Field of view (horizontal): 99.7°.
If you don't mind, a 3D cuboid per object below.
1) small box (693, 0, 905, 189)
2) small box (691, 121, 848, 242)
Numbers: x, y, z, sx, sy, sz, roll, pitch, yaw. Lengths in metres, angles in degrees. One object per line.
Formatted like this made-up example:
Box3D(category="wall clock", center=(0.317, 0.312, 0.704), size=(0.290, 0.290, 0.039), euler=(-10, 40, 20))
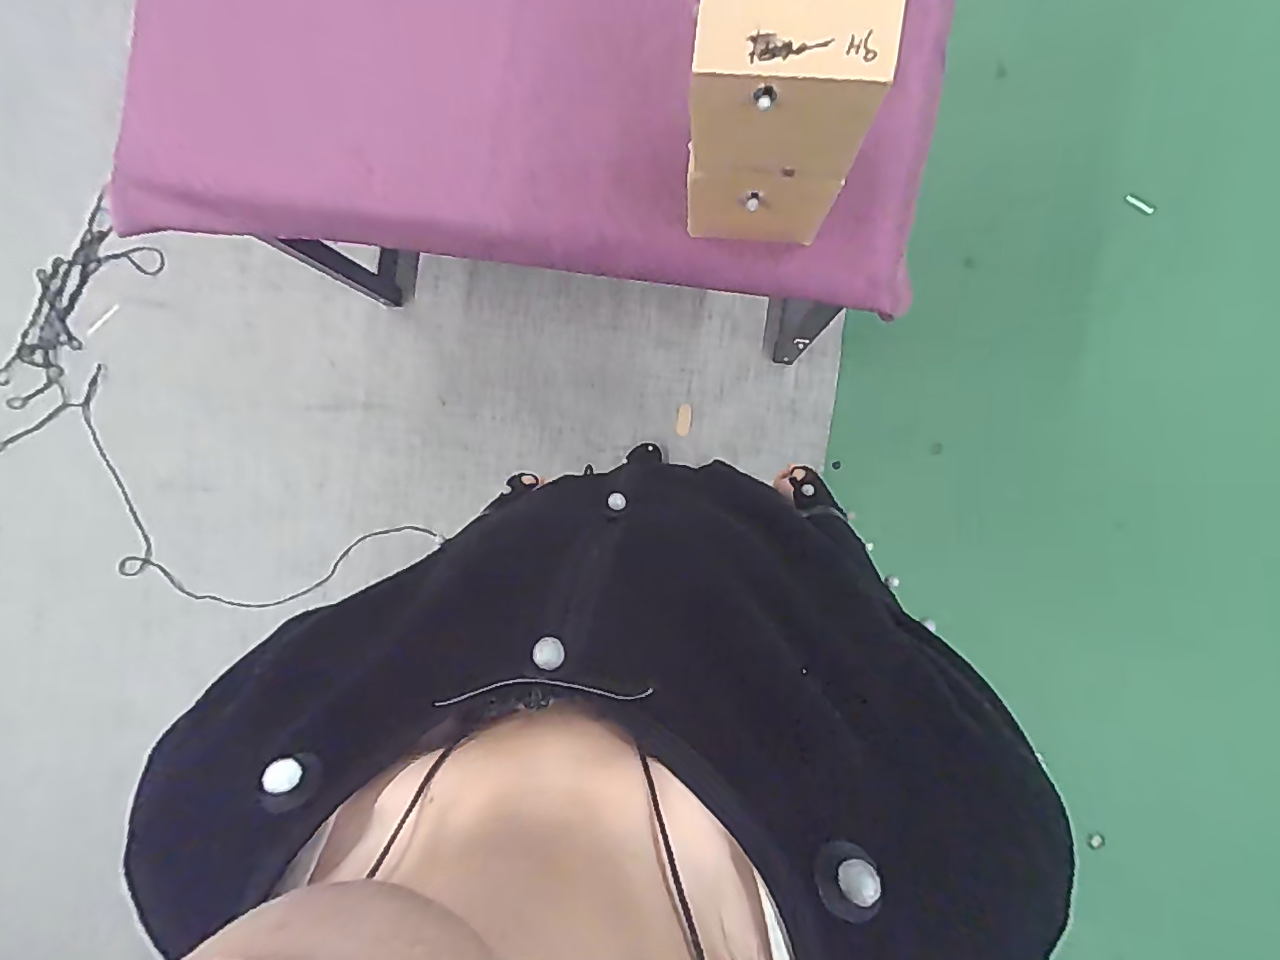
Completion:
Box3D(category="small box", center=(0.146, -0.416, 0.522), size=(0.168, 0.176, 0.179), euler=(8, 92, 8))
Box3D(category="small box", center=(0.163, -0.418, 0.685), size=(0.179, 0.176, 0.168), euler=(7, 93, 8))
